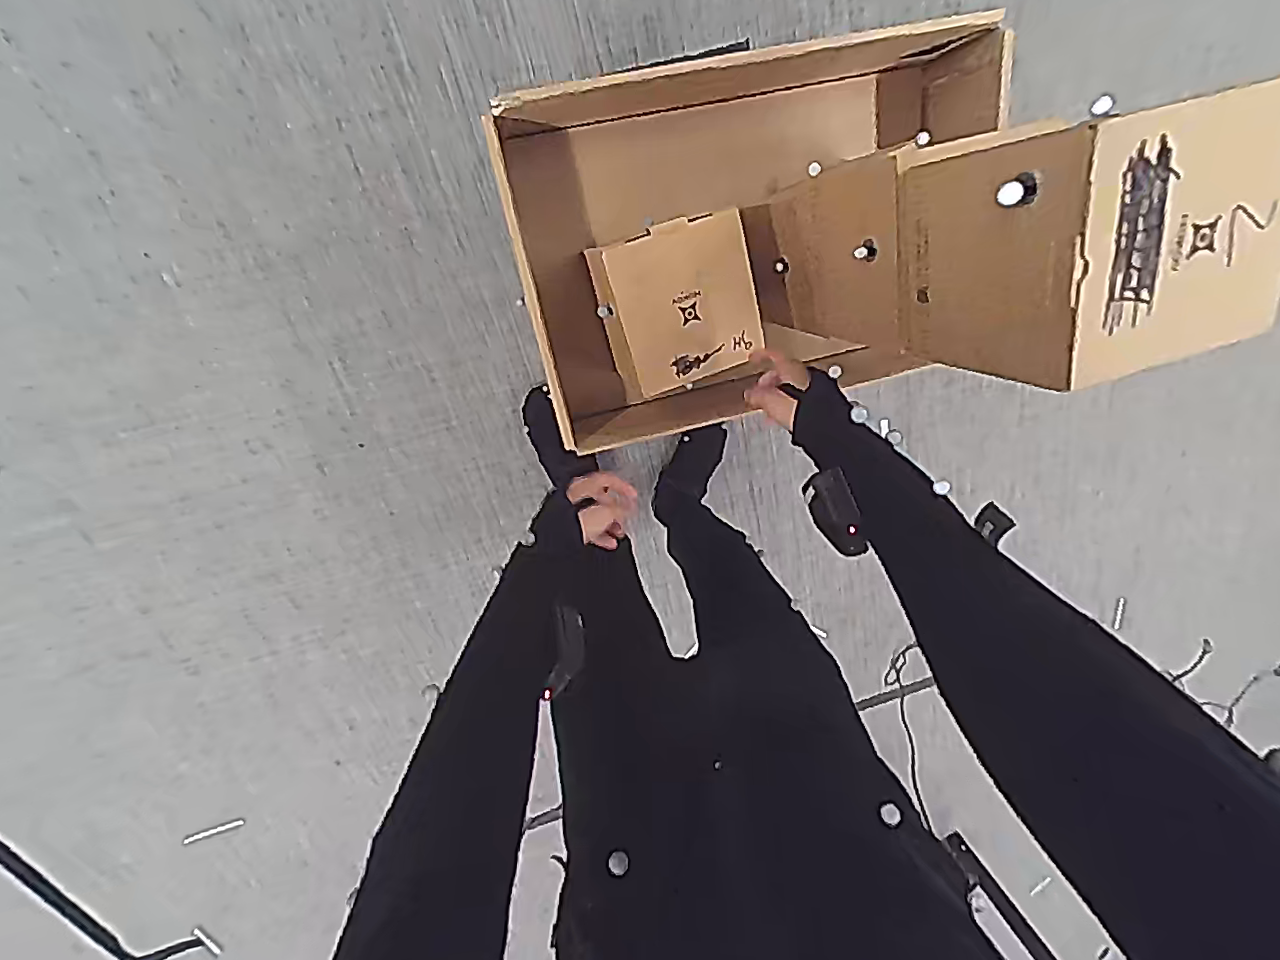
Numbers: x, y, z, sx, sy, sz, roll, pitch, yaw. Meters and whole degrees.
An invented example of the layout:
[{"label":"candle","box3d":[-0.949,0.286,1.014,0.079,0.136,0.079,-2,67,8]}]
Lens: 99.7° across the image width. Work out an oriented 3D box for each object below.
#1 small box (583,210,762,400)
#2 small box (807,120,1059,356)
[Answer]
[{"label":"small box","box3d":[0.035,-0.225,0.697,0.168,0.176,0.179,-20,114,-5]},{"label":"small box","box3d":[0.291,-0.245,0.571,0.168,0.176,0.179,-16,114,-5]}]
